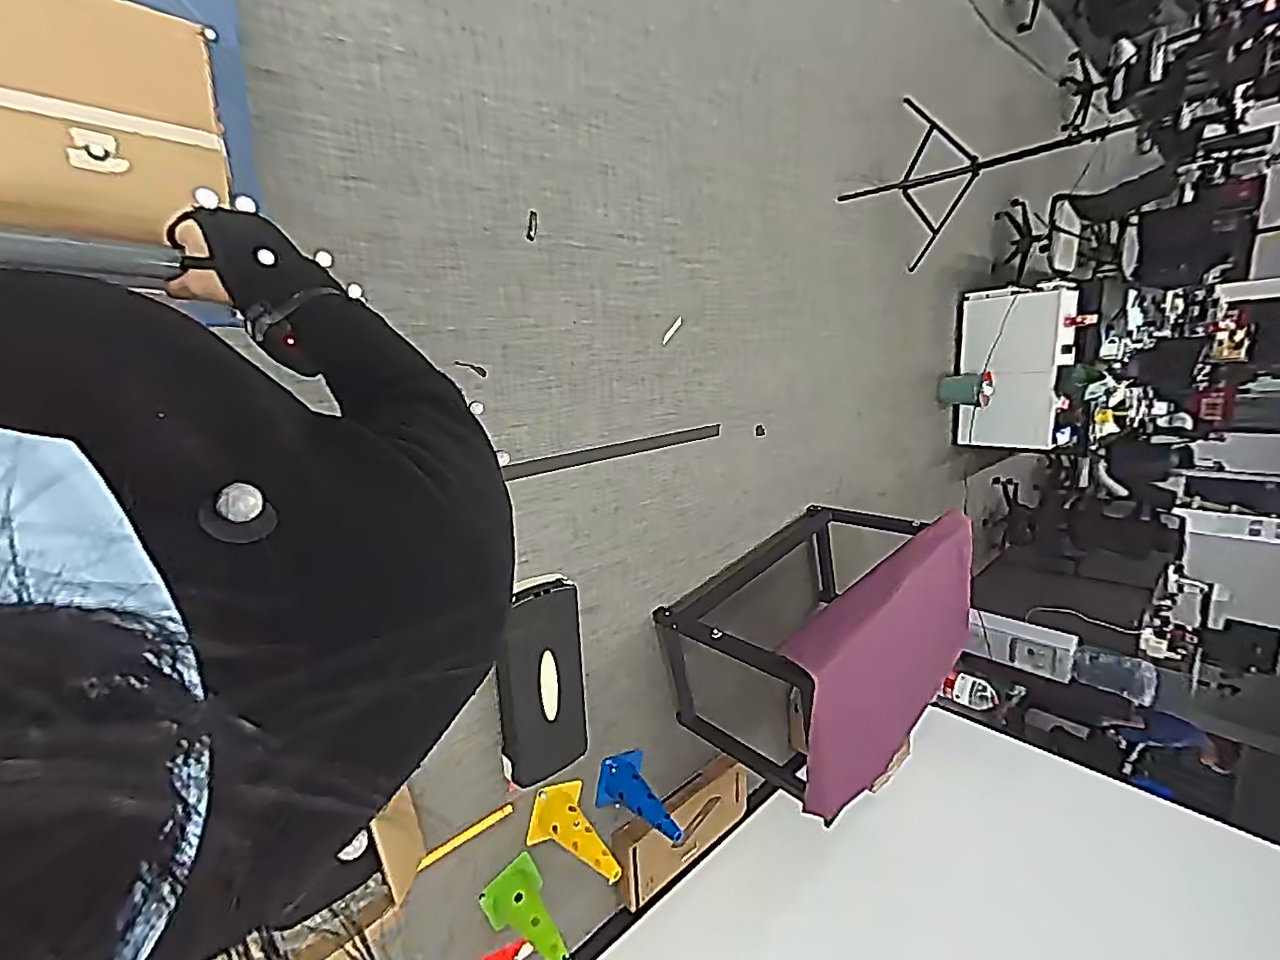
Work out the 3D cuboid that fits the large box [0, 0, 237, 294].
[{"bbox_3d":[-0.860,-0.461,0.771,0.408,0.320,0.320,-10,103,-41],"label":"large box"}]
